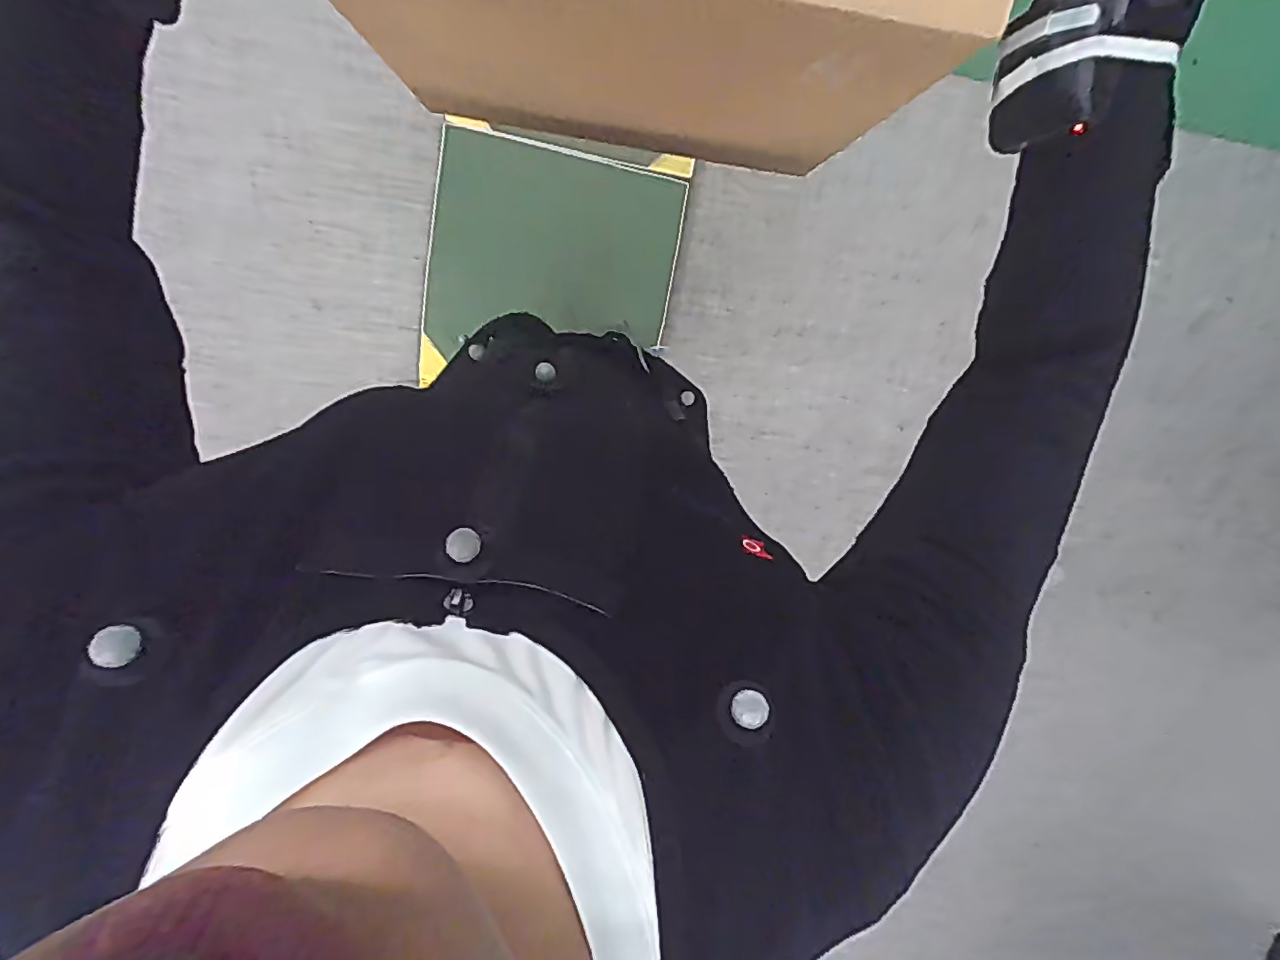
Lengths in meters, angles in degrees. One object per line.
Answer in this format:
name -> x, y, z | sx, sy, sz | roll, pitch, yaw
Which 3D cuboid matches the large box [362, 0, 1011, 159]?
large box -> 0.016, -0.463, 0.384 | 0.408, 0.320, 0.320 | 6, 108, -6
